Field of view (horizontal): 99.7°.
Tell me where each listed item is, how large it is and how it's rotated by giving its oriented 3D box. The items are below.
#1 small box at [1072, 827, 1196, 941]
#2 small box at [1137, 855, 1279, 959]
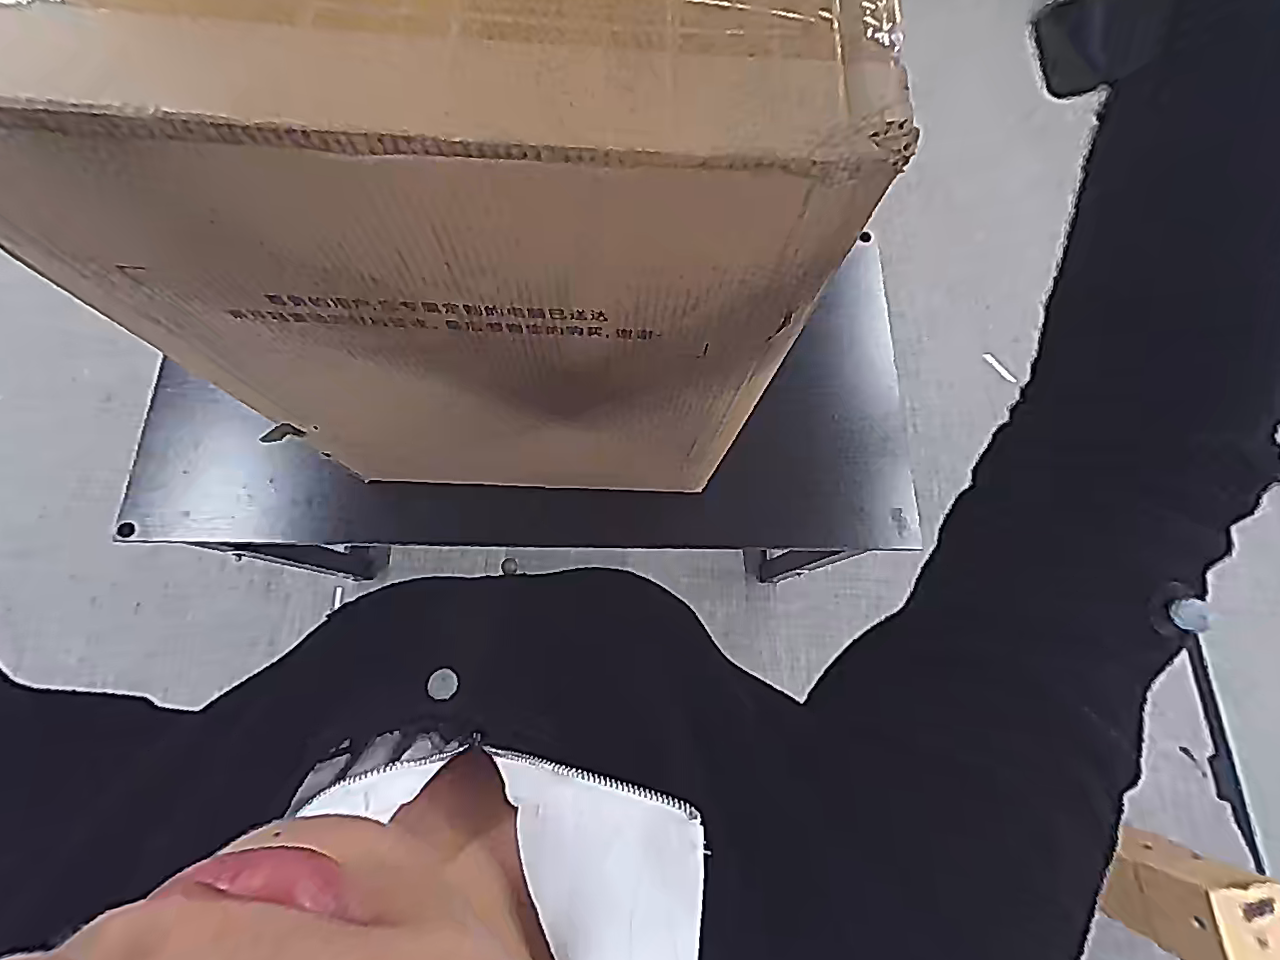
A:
[{"bbox_3d":[1.216,0.970,1.314,0.179,0.176,0.168,-6,73,-4],"label":"small box"},{"bbox_3d":[1.227,0.929,1.155,0.168,0.176,0.179,-3,74,-4],"label":"small box"}]
